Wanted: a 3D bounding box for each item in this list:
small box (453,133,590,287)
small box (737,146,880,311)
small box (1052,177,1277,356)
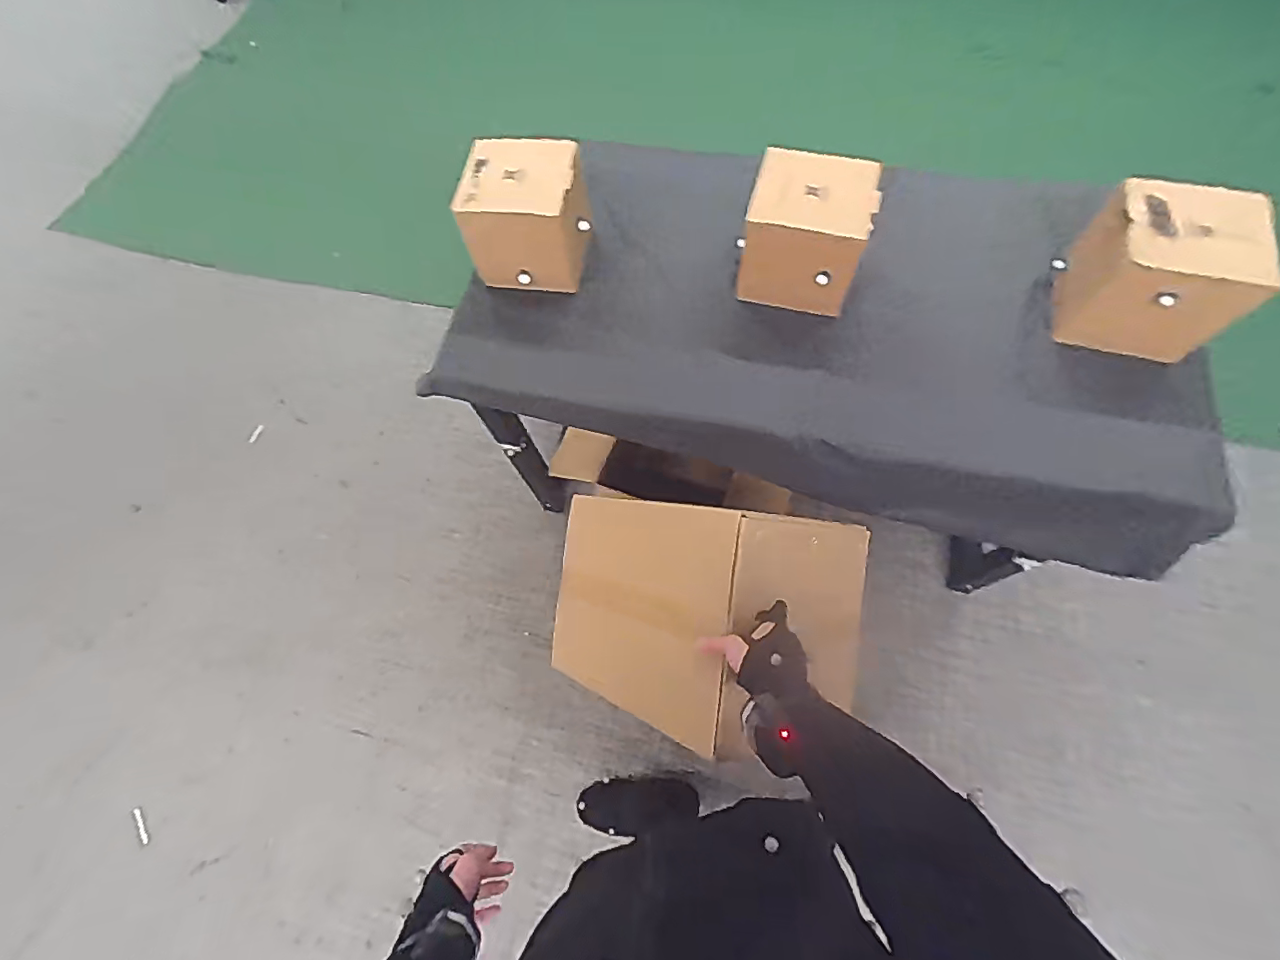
[{"bbox_3d":[-0.190,-0.457,0.931,0.179,0.176,0.168,7,68,6],"label":"small box"},{"bbox_3d":[0.265,-0.400,0.878,0.179,0.176,0.168,14,68,11],"label":"small box"},{"bbox_3d":[0.751,-0.306,0.798,0.179,0.176,0.168,15,70,10],"label":"small box"}]
